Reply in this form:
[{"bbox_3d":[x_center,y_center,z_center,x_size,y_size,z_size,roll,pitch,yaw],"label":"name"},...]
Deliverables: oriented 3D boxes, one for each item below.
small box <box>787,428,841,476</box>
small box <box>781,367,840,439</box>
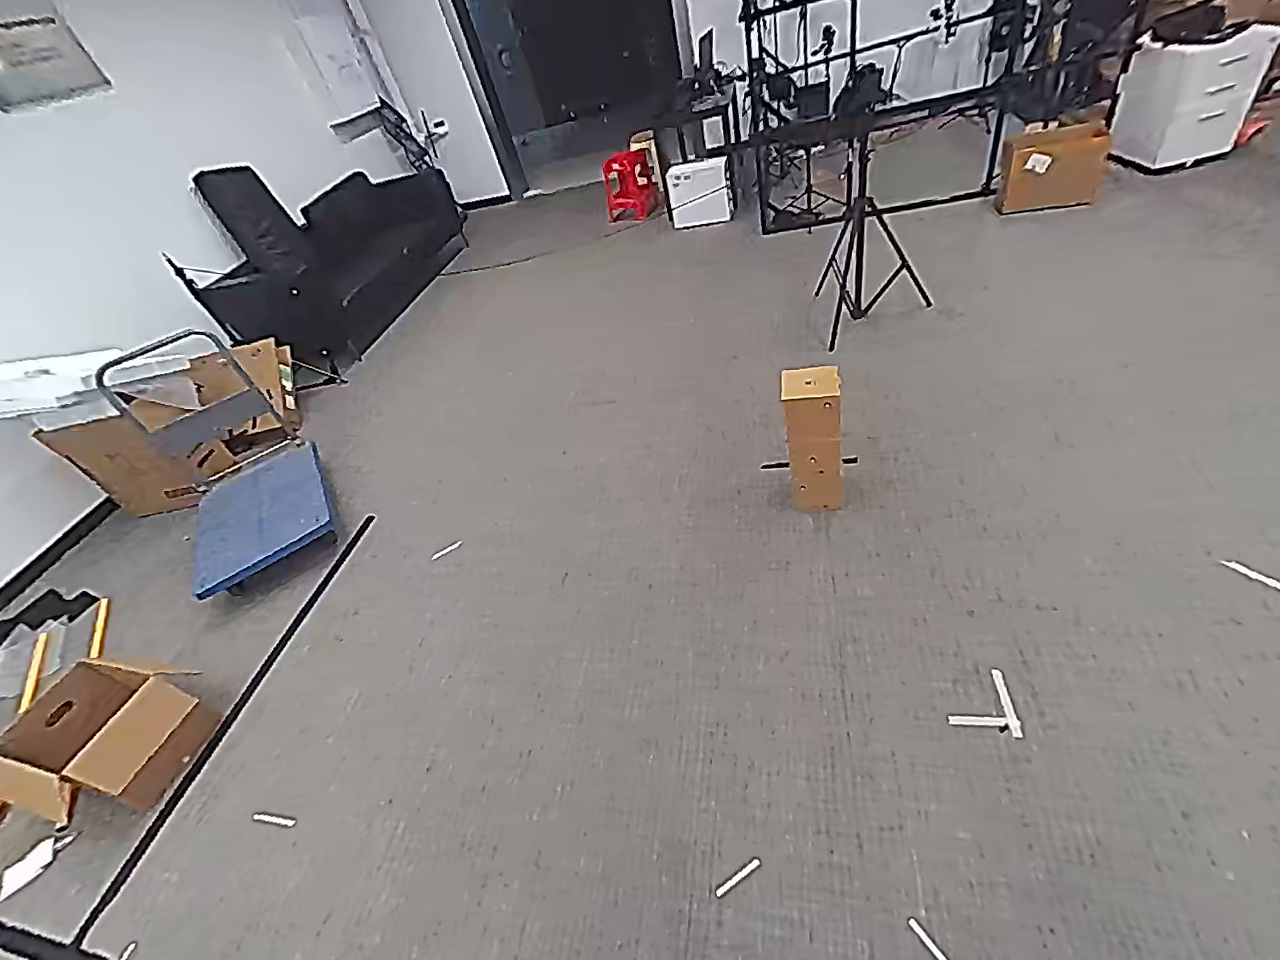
[{"bbox_3d":[0.602,-0.128,1.860,0.168,0.176,0.179,0,44,20],"label":"small box"},{"bbox_3d":[0.554,-0.246,1.758,0.179,0.176,0.168,-3,43,17],"label":"small box"}]
